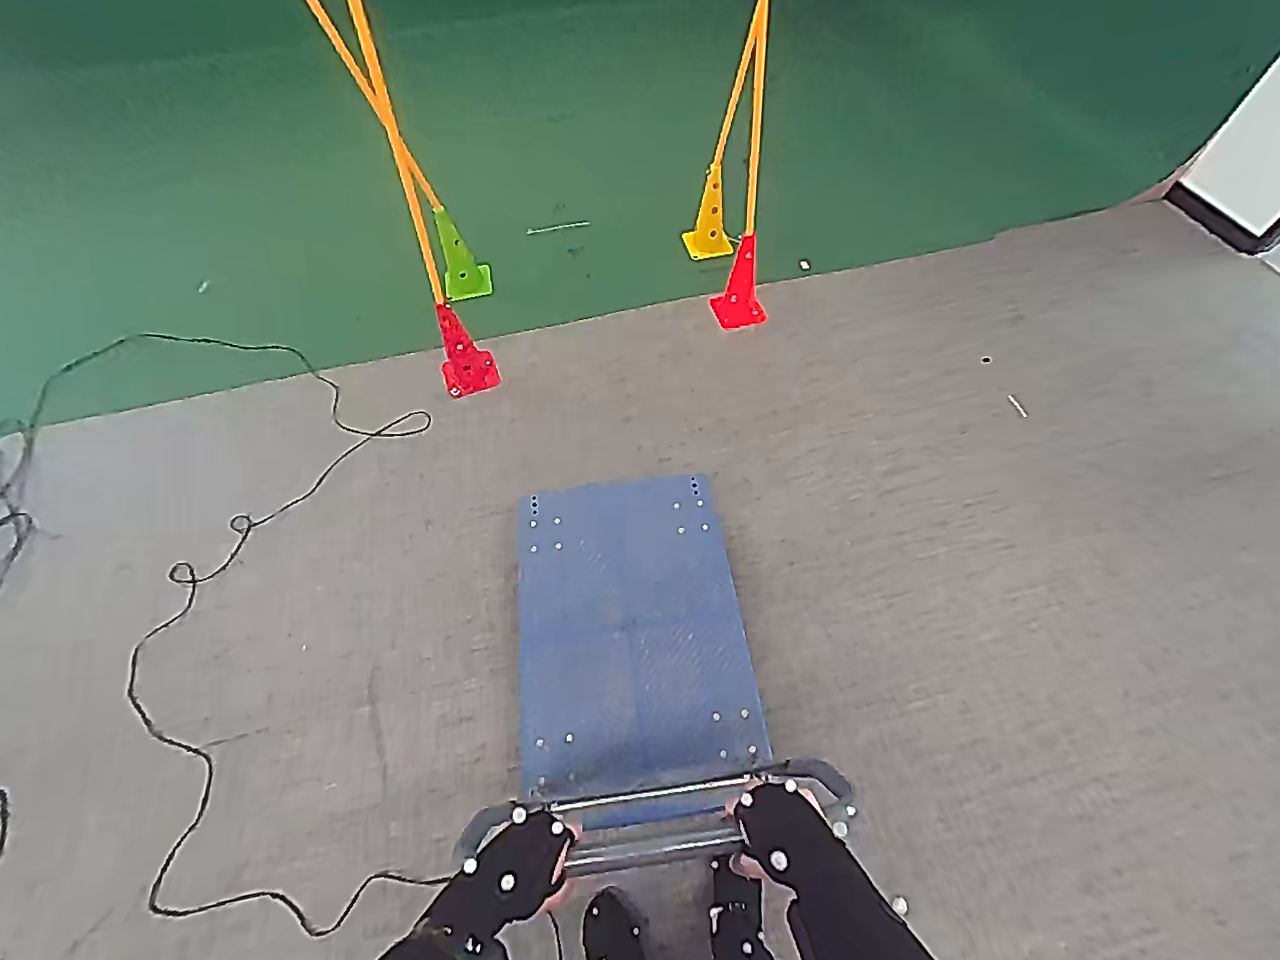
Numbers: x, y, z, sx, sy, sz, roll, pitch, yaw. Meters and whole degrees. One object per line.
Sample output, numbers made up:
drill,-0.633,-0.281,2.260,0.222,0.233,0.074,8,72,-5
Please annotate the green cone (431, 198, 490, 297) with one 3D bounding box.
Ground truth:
green cone,-0.773,-0.976,2.232,0.200,0.368,0.202,-13,58,-5

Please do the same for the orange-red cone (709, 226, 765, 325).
orange-red cone,0.398,-0.813,2.099,0.198,0.360,0.199,-12,57,-6
